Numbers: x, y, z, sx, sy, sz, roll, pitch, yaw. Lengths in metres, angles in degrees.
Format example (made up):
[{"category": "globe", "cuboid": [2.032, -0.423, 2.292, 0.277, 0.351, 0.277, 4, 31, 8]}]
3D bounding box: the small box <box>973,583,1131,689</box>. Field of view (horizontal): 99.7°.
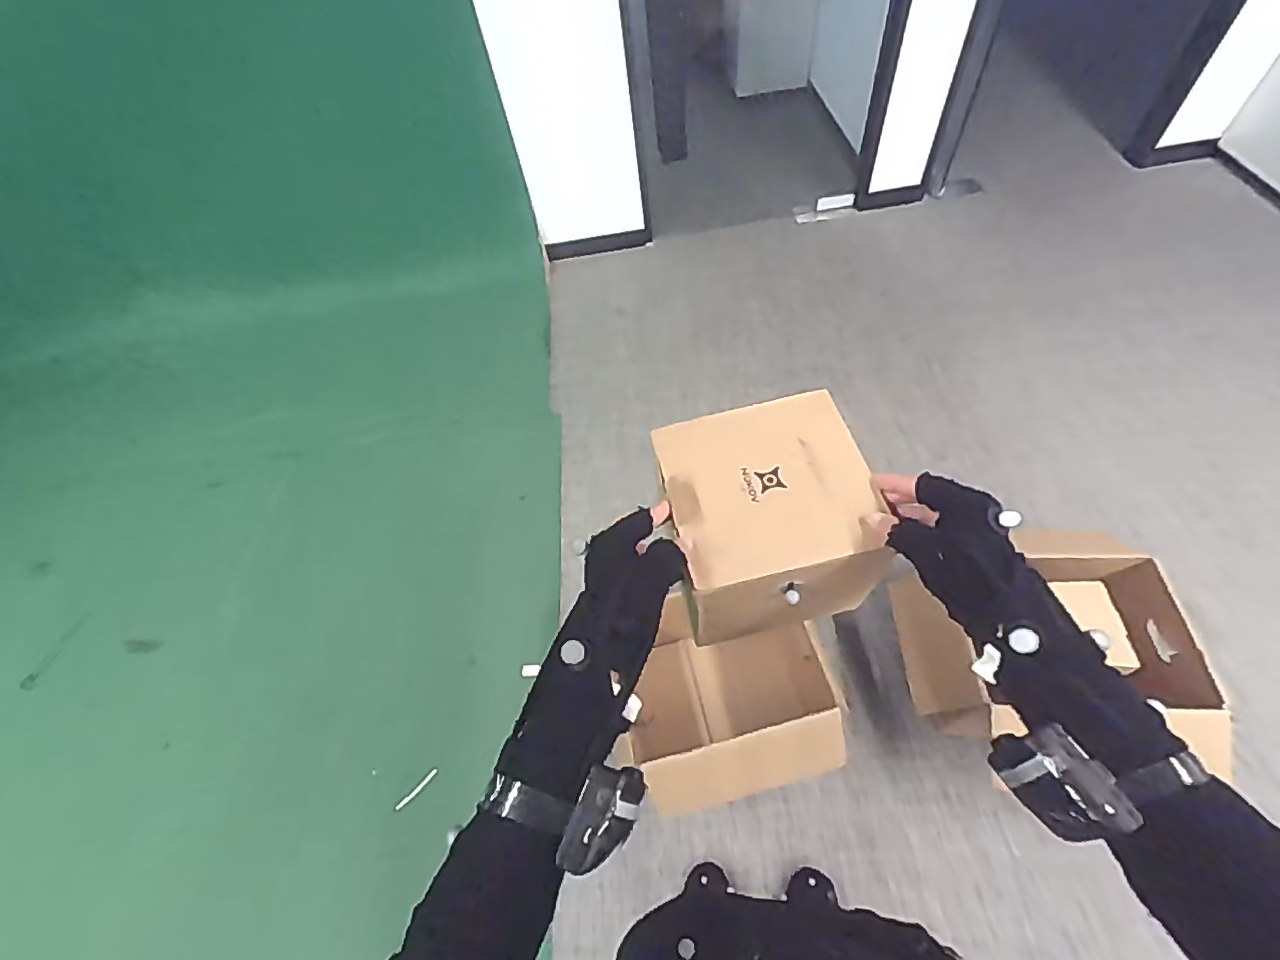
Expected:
[{"category": "small box", "cuboid": [0.821, 0.320, 1.100, 0.179, 0.176, 0.168, -3, 54, 8]}]
